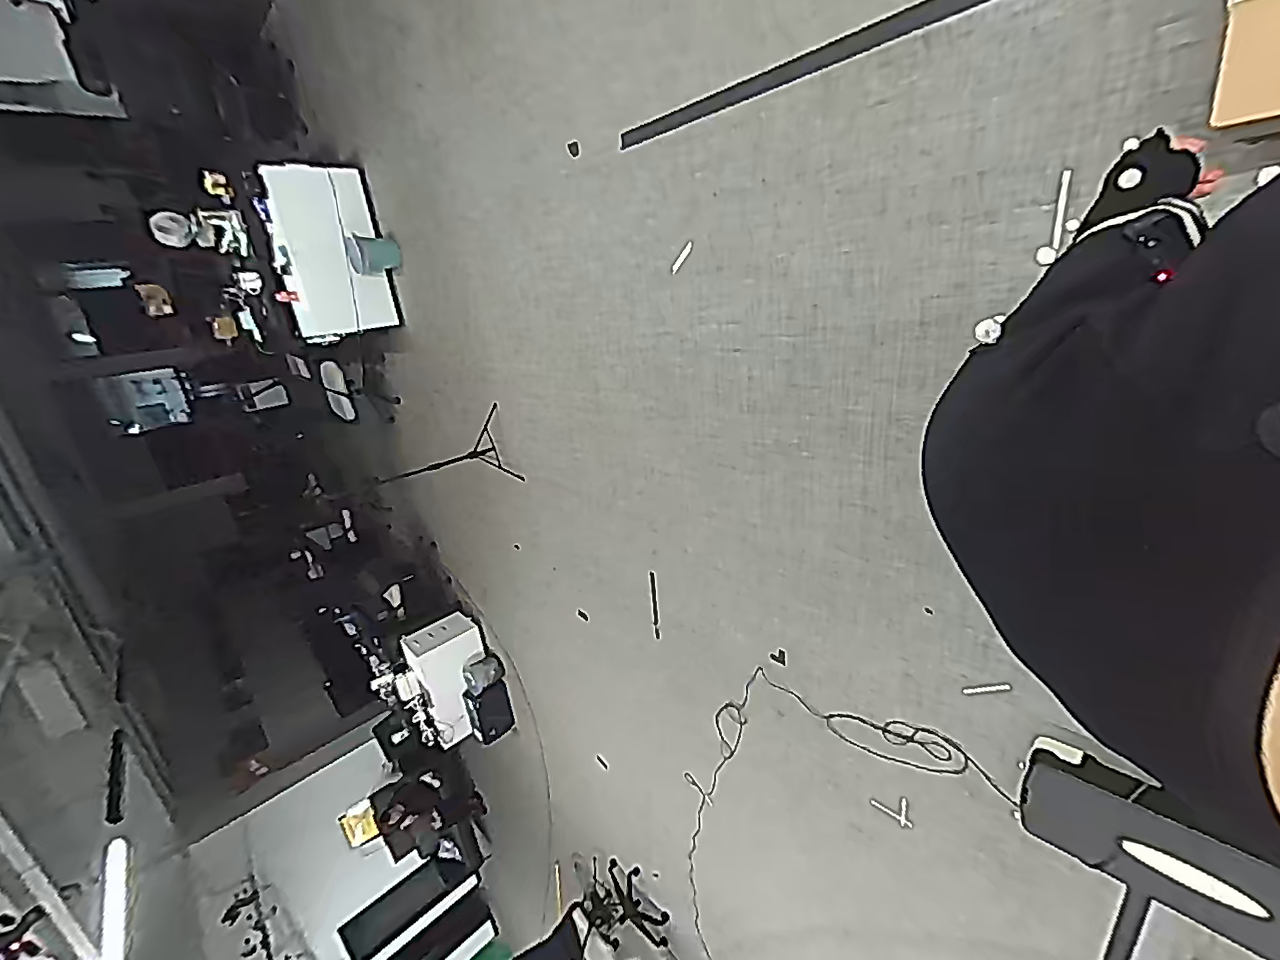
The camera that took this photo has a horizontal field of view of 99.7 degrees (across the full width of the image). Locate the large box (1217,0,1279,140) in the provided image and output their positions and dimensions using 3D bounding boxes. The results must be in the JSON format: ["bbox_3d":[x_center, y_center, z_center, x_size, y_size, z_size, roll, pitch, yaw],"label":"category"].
[{"bbox_3d":[1.024,-0.659,0.660,0.408,0.320,0.320,12,118,45],"label":"large box"}]
